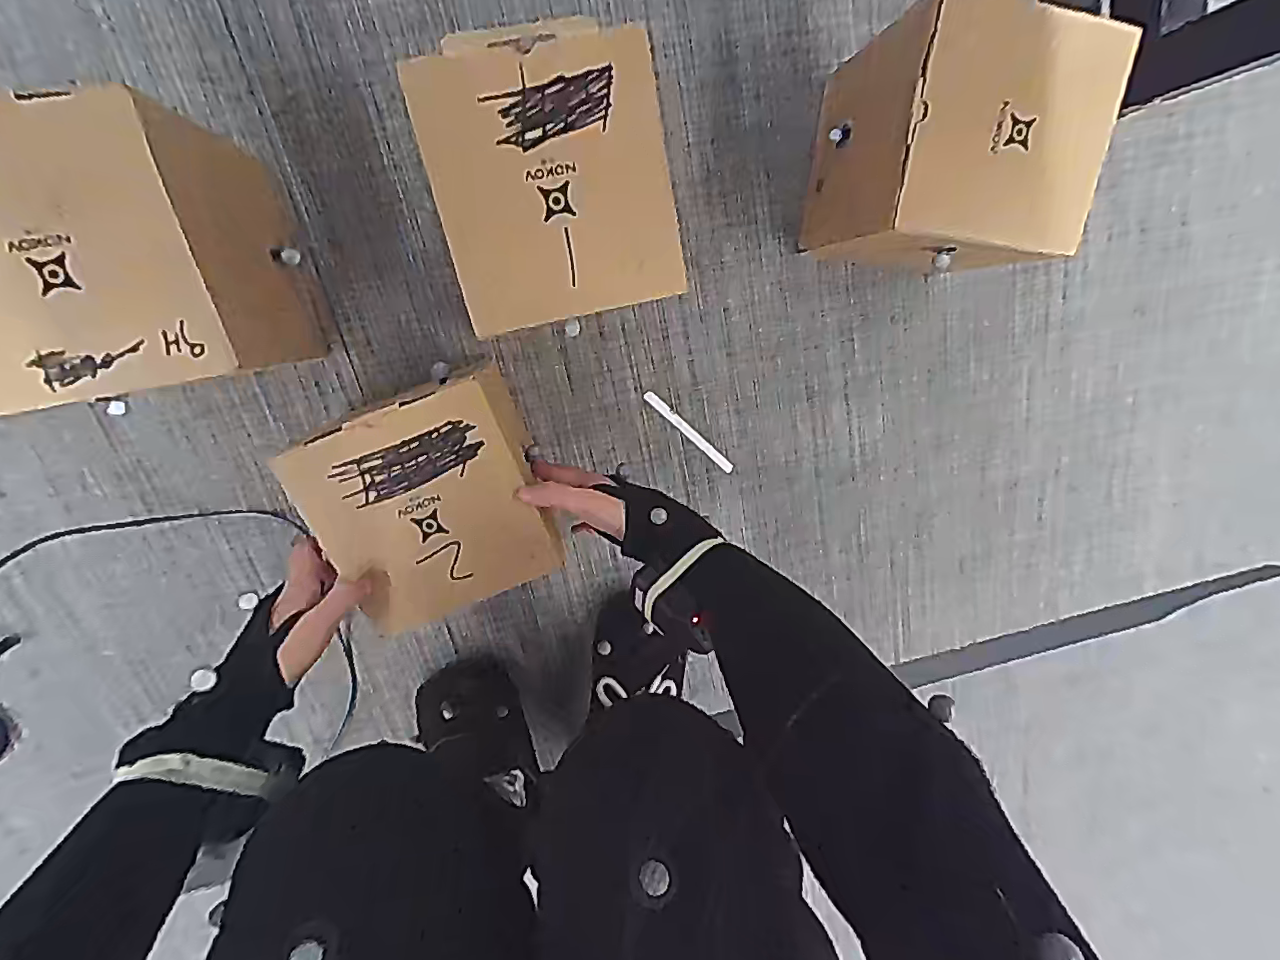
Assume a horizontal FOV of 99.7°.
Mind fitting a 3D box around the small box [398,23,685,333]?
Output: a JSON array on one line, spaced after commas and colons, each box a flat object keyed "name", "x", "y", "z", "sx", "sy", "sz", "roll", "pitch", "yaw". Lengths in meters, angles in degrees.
[{"name": "small box", "x": -0.075, "y": -0.226, "z": 0.451, "sx": 0.168, "sy": 0.176, "sz": 0.179, "roll": -14, "pitch": 109, "yaw": -6}]

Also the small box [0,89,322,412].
[{"name": "small box", "x": -0.382, "y": -0.158, "z": 0.415, "sx": 0.168, "sy": 0.176, "sz": 0.179, "roll": -12, "pitch": 106, "yaw": -7}]

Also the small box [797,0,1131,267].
[{"name": "small box", "x": 0.272, "y": -0.296, "z": 0.497, "sx": 0.179, "sy": 0.176, "sz": 0.168, "roll": 3, "pitch": 106, "yaw": -10}]
